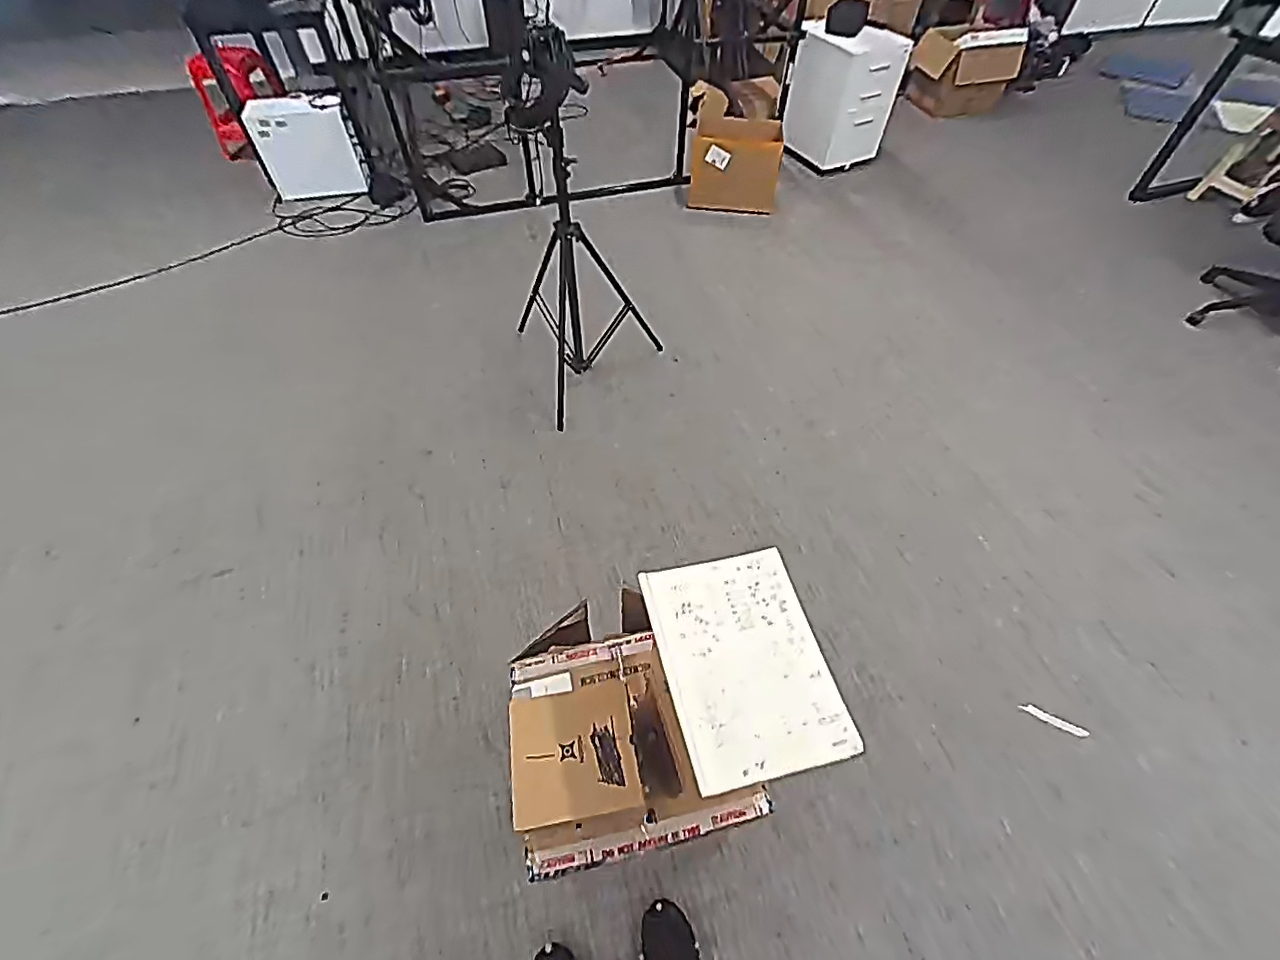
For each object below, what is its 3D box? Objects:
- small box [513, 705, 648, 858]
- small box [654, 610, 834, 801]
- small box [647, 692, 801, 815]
[{"bbox_3d":[-0.088,0.454,0.815,0.179,0.176,0.168,-8,55,-6],"label":"small box"},{"bbox_3d":[0.122,0.305,0.728,0.168,0.176,0.179,-12,55,-12],"label":"small box"},{"bbox_3d":[0.120,0.407,0.855,0.179,0.176,0.168,-14,56,-13],"label":"small box"}]
